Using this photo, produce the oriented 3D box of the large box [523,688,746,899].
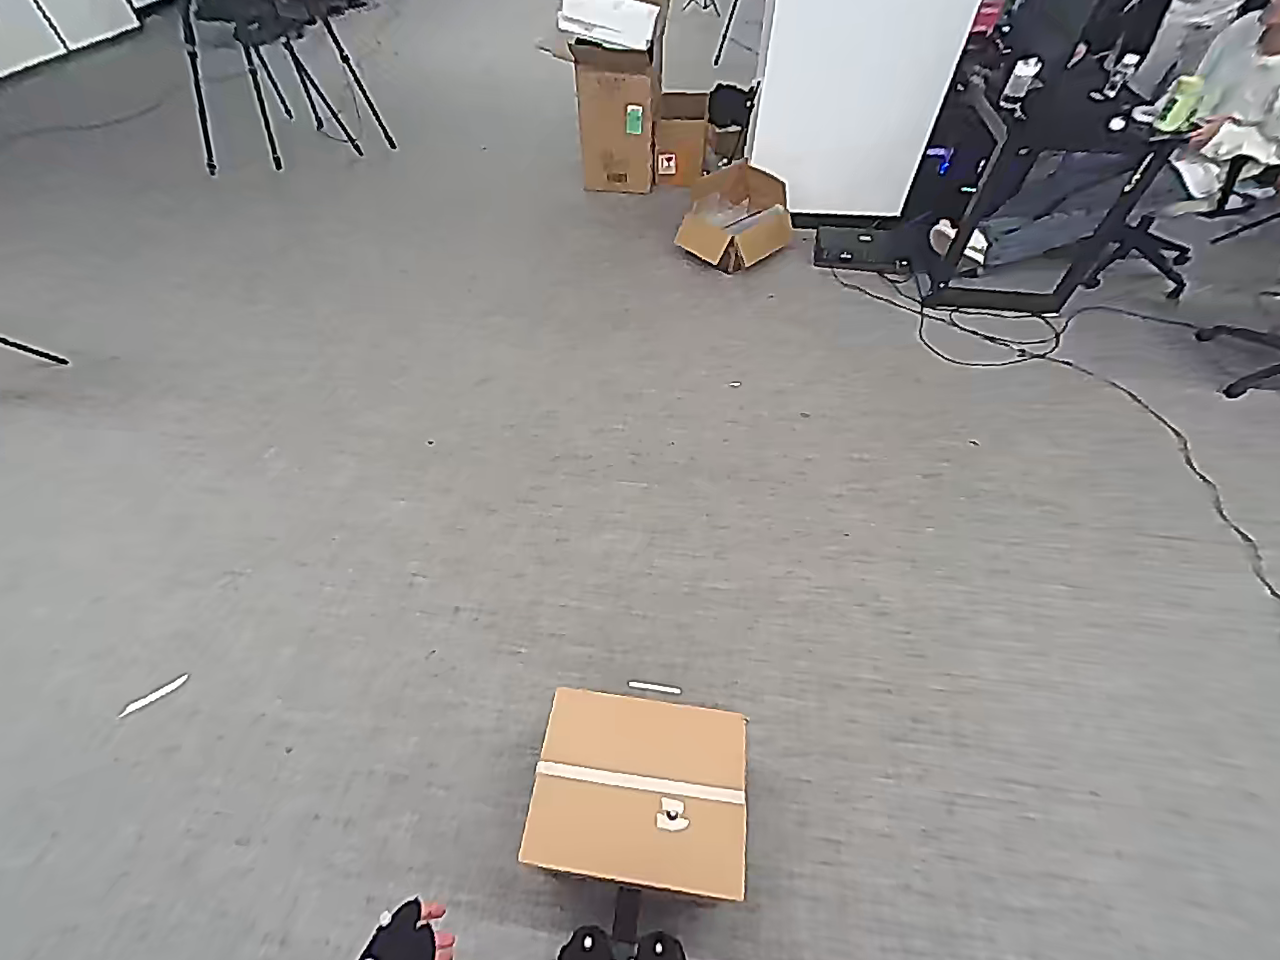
[{"bbox_3d":[0.000,0.673,1.158,0.408,0.320,0.320,7,52,4],"label":"large box"}]
